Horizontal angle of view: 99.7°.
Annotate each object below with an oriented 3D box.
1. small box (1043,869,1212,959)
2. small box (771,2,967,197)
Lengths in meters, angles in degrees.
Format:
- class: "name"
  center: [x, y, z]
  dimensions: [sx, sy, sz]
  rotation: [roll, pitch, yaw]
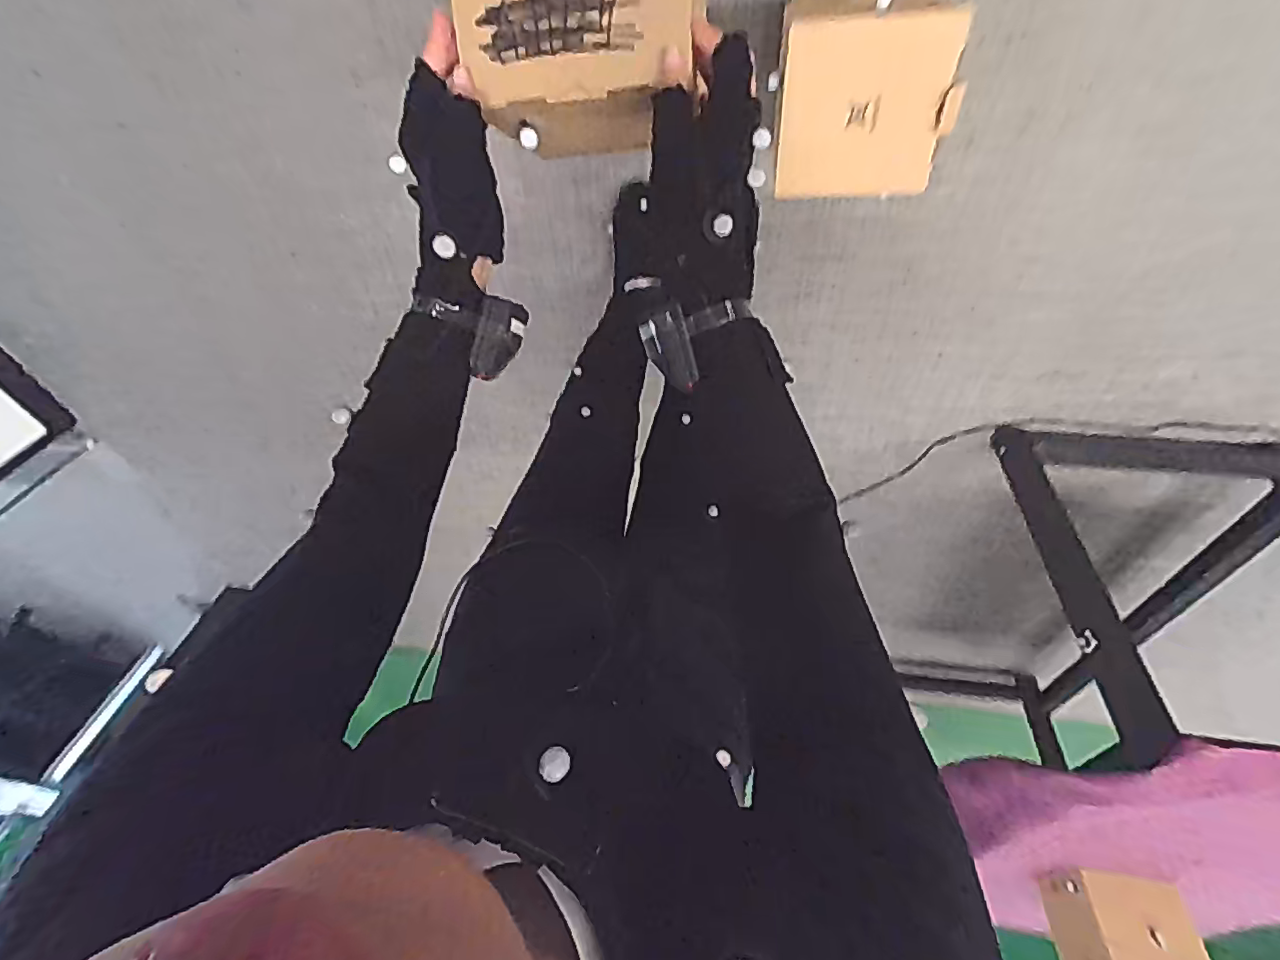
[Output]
- class: "small box"
  center: [0.922, 0.866, 1.032]
  dimensions: [0.179, 0.176, 0.168]
  rotation: [5, 135, 7]
- class: "small box"
  center: [0.254, -0.458, 0.654]
  dimensions: [0.179, 0.176, 0.168]
  rotation: [2, 135, 9]
